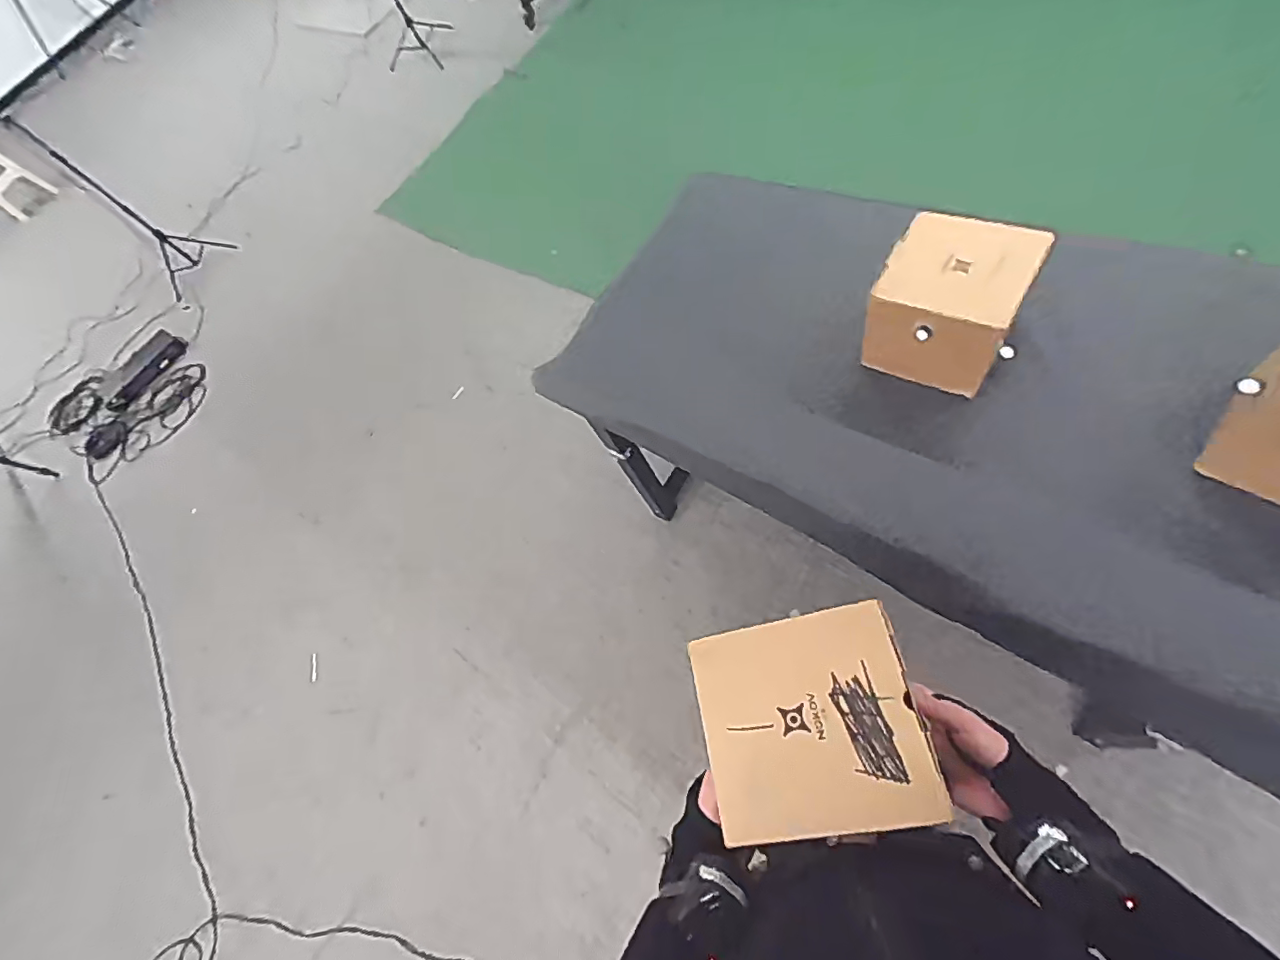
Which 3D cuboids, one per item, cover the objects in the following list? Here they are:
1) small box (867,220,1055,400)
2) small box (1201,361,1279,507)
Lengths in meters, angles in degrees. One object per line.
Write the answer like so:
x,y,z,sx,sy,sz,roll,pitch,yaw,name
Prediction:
0.456,-0.244,0.799,0.179,0.176,0.168,27,77,26,small box
0.791,-0.059,0.591,0.179,0.176,0.168,34,79,30,small box
